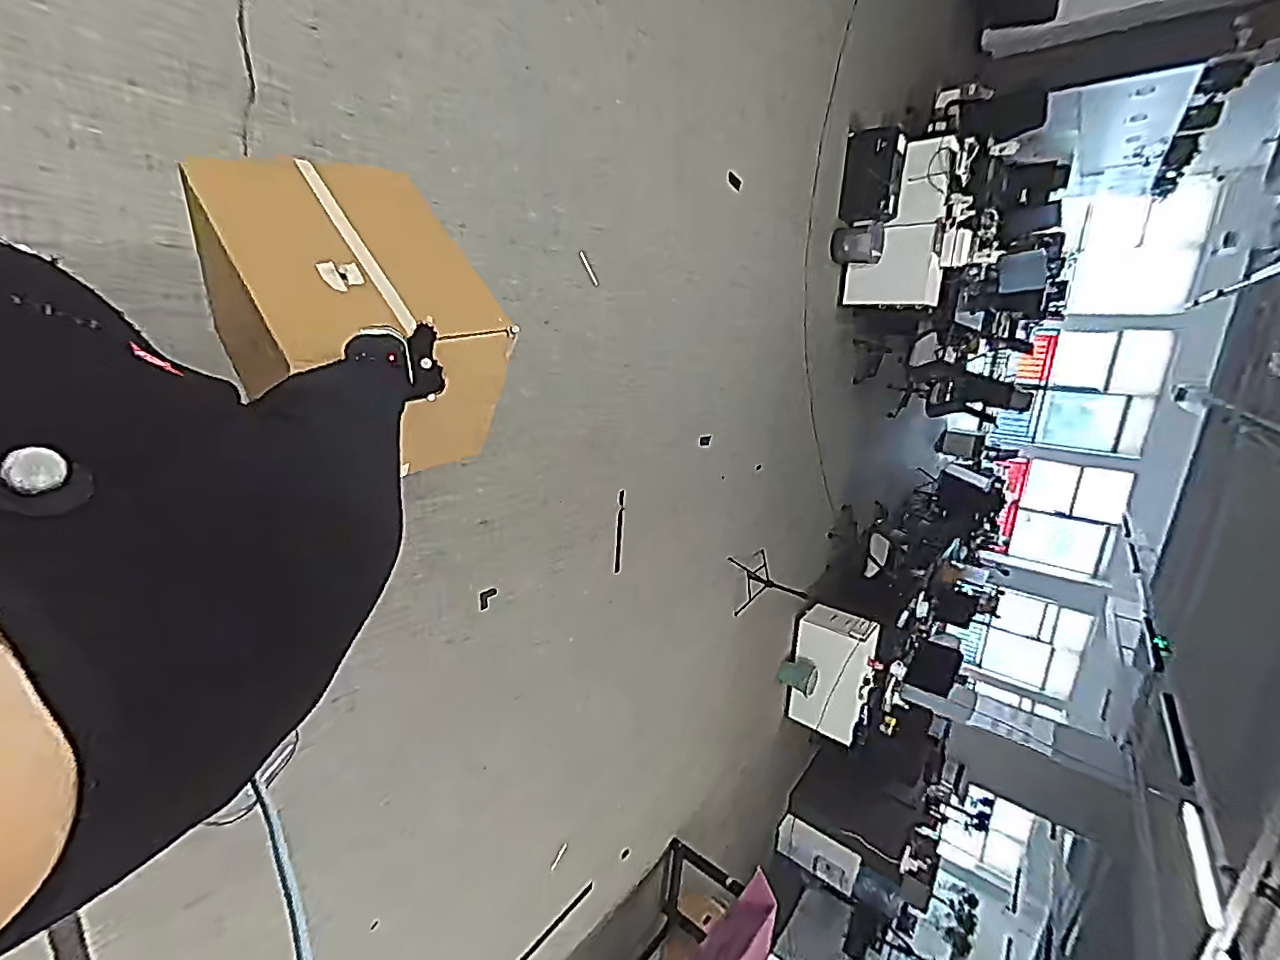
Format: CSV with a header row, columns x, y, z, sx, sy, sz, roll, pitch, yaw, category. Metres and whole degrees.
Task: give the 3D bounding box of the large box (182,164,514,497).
x,y,z,sx,sy,sz,roll,pitch,yaw,category
-0.479,-0.247,0.902,0.320,0.408,0.320,-24,160,-40,large box
